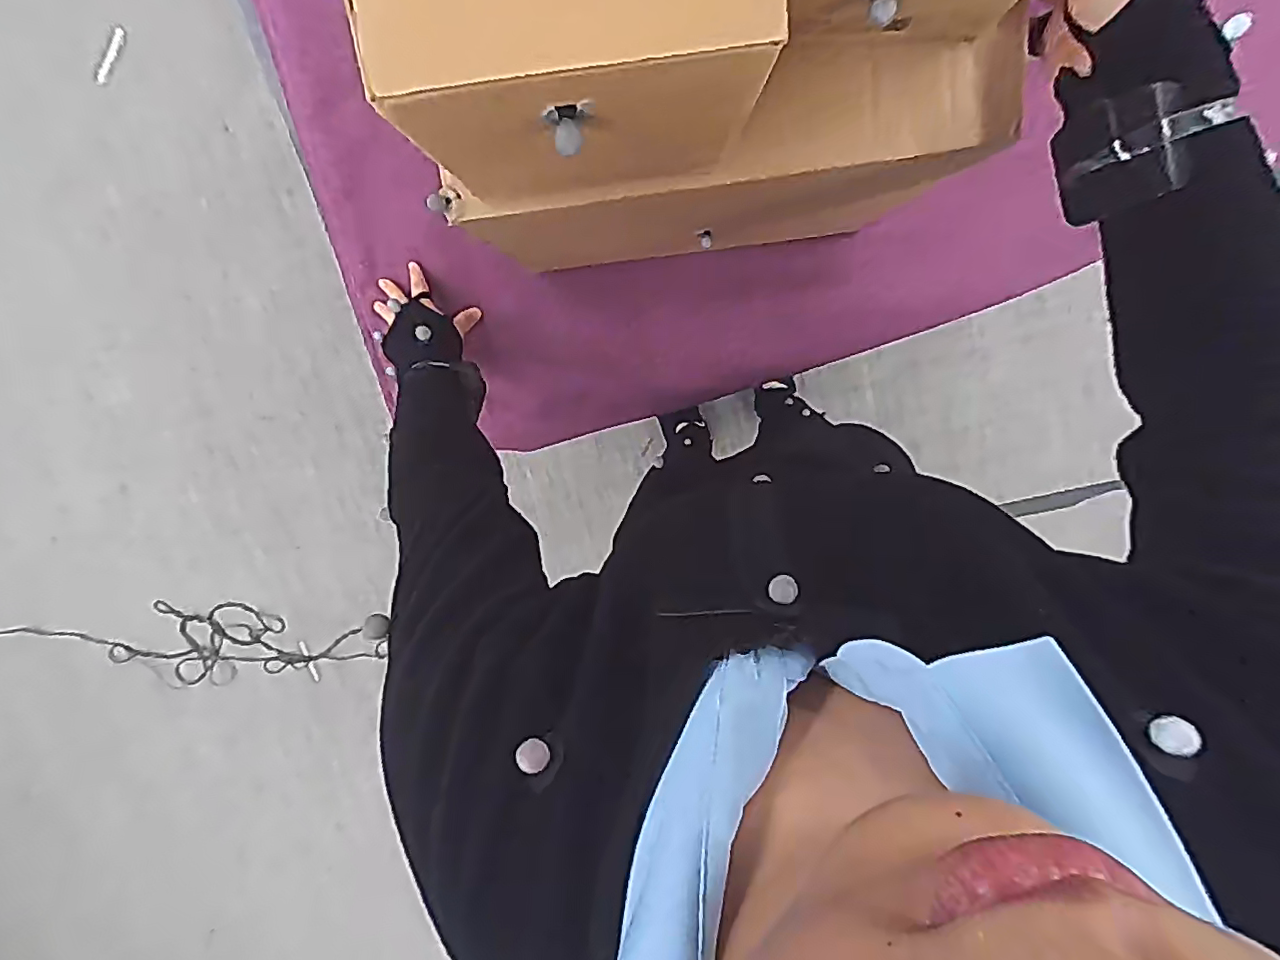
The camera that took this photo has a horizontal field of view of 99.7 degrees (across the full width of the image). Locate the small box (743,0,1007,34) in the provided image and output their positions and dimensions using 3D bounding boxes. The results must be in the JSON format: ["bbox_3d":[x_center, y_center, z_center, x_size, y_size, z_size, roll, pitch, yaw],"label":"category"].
[{"bbox_3d":[0.138,-0.350,0.244,0.168,0.176,0.179,0,104,3],"label":"small box"}]

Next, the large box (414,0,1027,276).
[{"bbox_3d":[0.050,-0.390,0.489,0.408,0.320,0.320,-7,102,4],"label":"large box"}]
